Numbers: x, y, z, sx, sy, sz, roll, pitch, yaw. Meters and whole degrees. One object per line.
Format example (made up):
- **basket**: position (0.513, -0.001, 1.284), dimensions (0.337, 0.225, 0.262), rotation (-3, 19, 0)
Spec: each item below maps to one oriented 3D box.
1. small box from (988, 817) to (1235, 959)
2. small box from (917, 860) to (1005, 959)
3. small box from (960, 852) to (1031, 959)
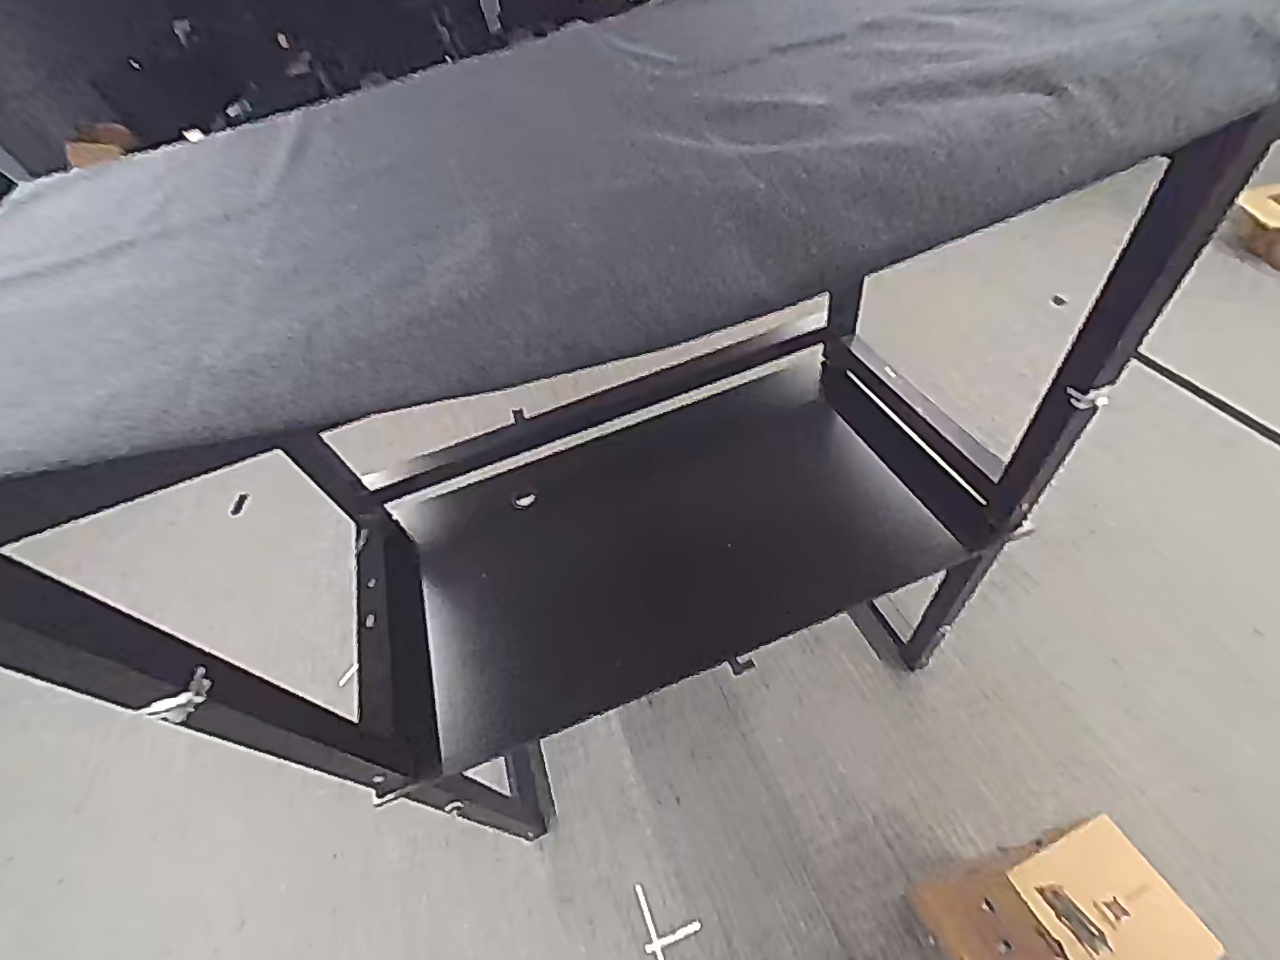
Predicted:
- **small box**: position (0.623, 0.605, 0.748), dimensions (0.179, 0.176, 0.168), rotation (-24, 50, -8)
- **small box**: position (0.709, 0.919, 1.117), dimensions (0.179, 0.176, 0.168), rotation (-23, 50, -6)
- **small box**: position (0.659, 0.718, 0.863), dimensions (0.168, 0.176, 0.179), rotation (-24, 50, -7)
